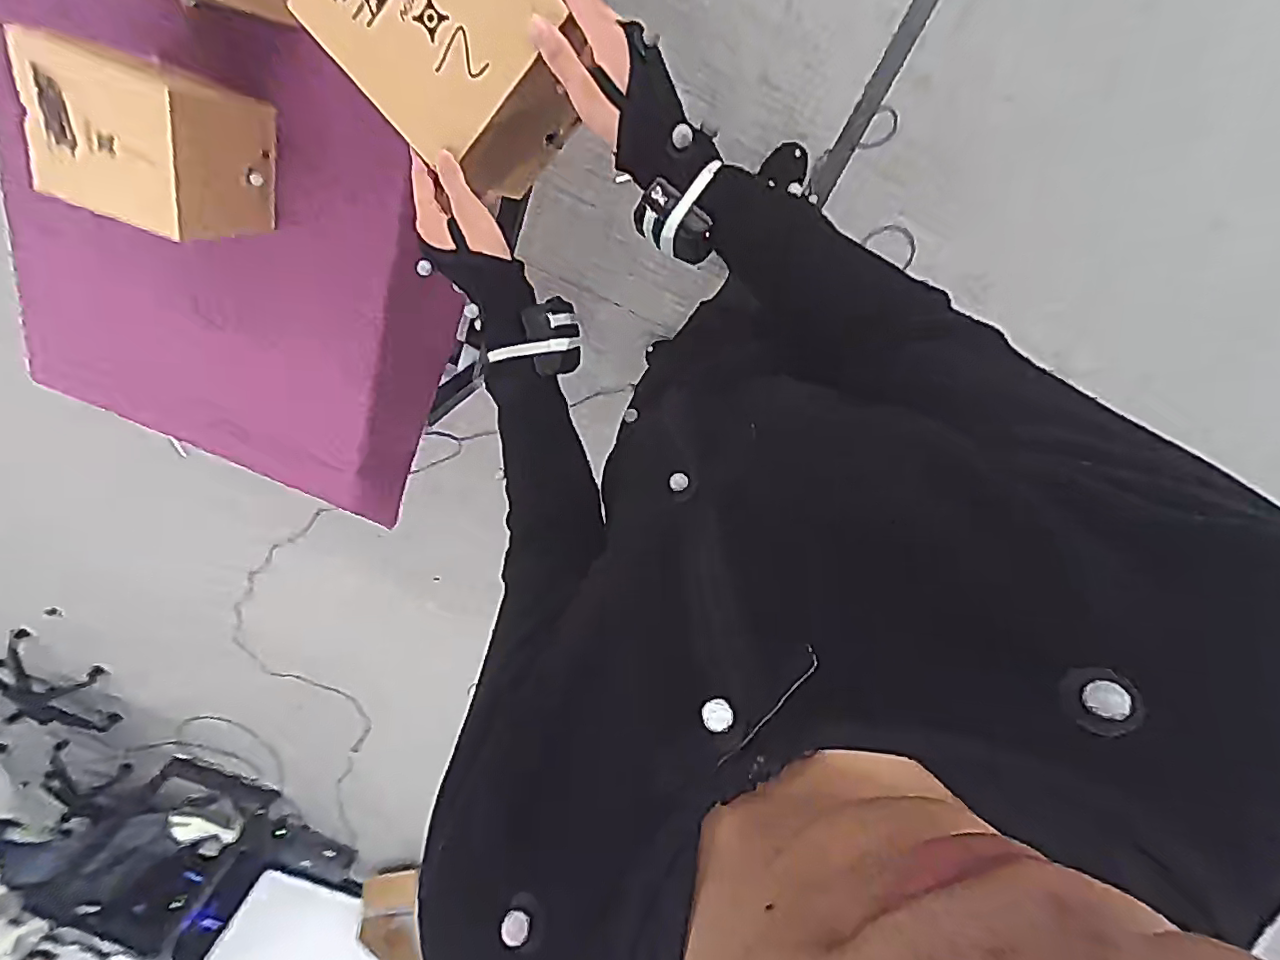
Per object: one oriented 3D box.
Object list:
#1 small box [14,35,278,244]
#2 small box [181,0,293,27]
[{"bbox_3d":[-0.606,-0.419,0.690,0.179,0.176,0.168,20,119,-3],"label":"small box"},{"bbox_3d":[-0.498,-0.615,0.570,0.179,0.176,0.168,15,118,0],"label":"small box"}]
